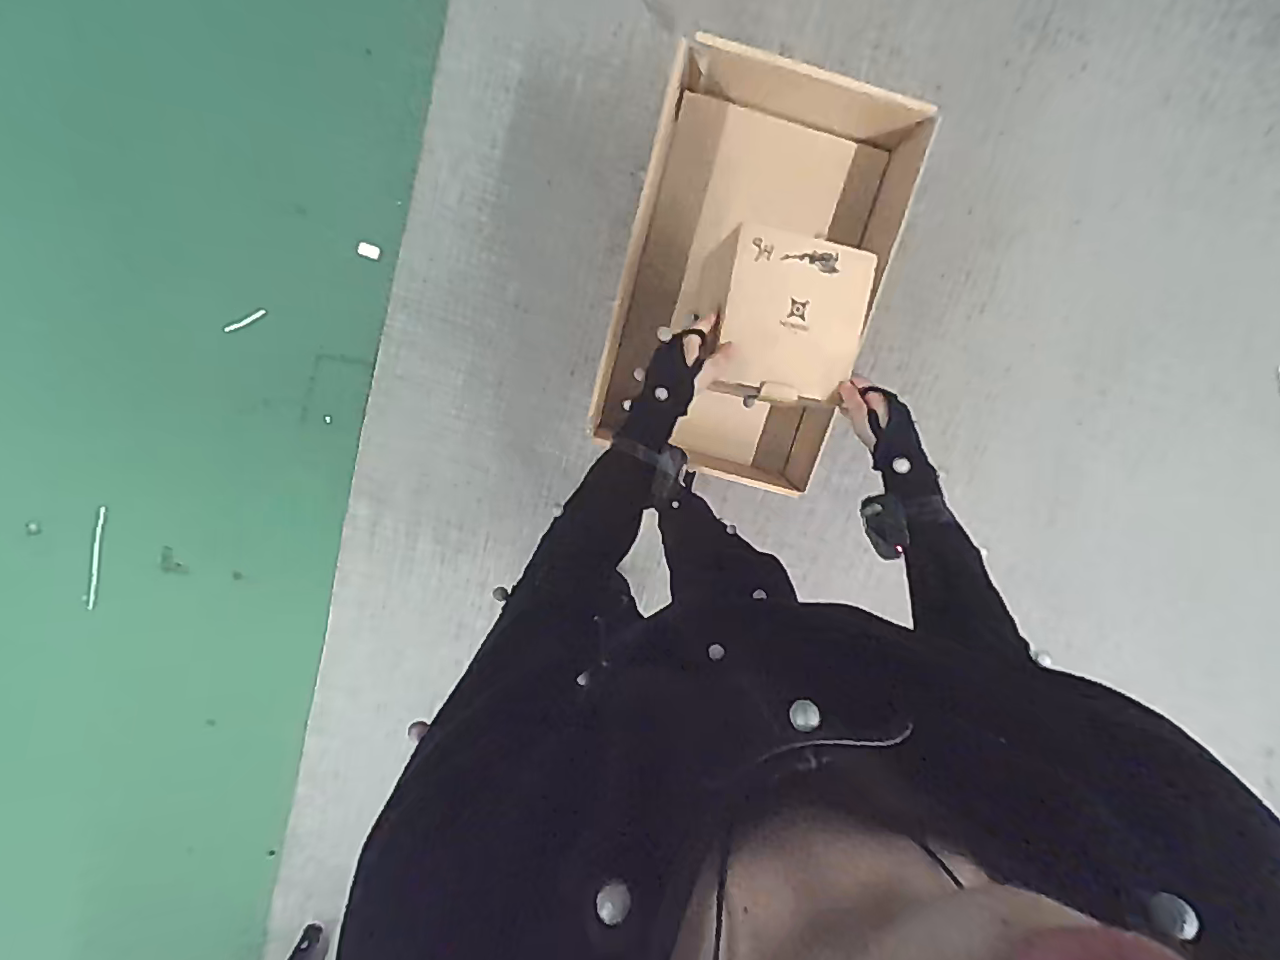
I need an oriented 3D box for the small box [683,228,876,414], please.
[{"bbox_3d":[0.159,-0.185,0.681,0.168,0.176,0.179,9,97,-10],"label":"small box"}]
